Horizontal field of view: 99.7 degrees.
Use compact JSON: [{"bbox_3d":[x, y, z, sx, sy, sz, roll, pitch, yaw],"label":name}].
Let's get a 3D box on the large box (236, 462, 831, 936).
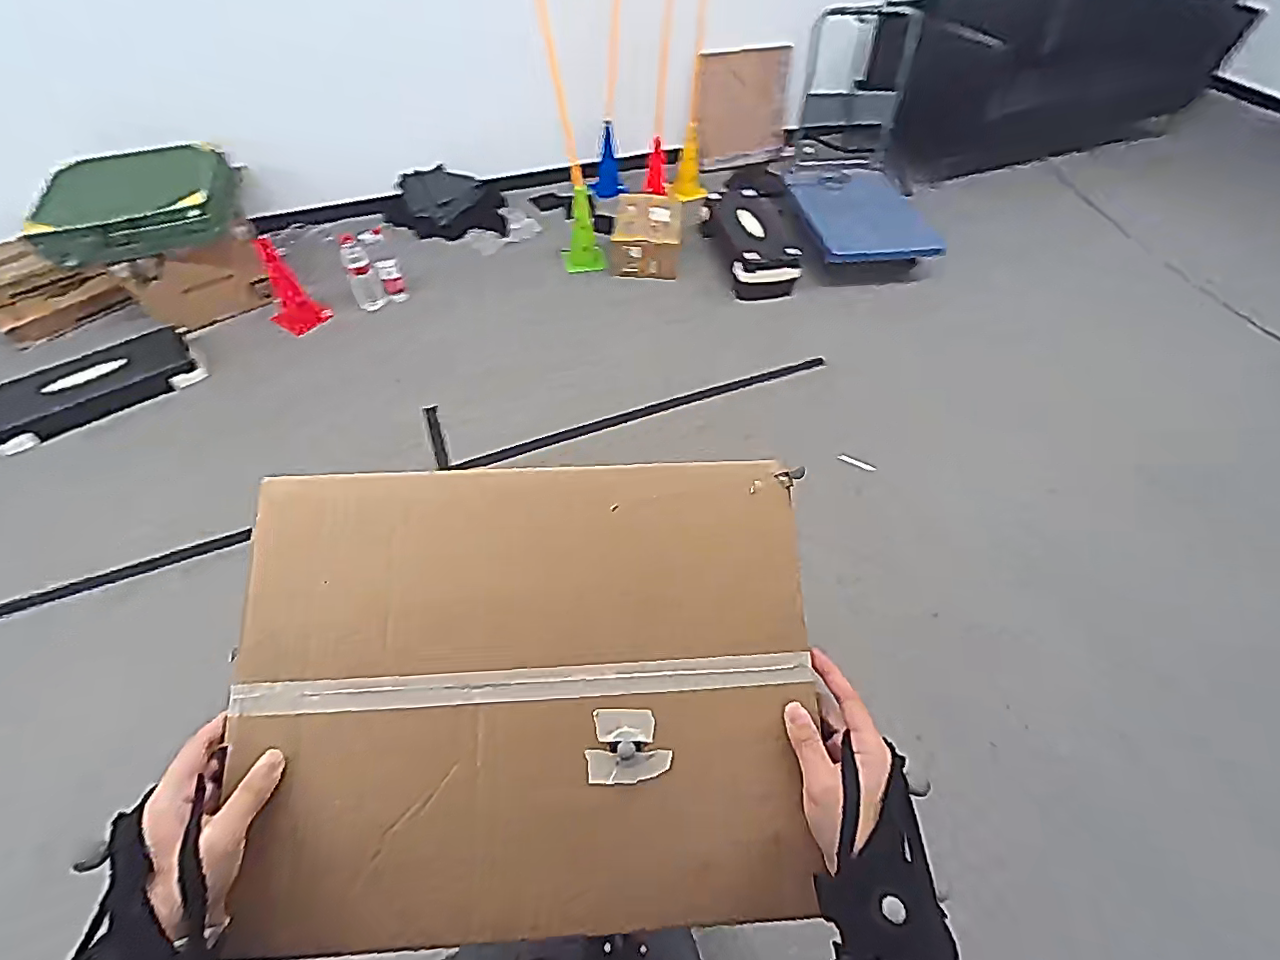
[{"bbox_3d":[-0.080,0.177,0.540,0.408,0.320,0.320,-1,77,-3],"label":"large box"}]
